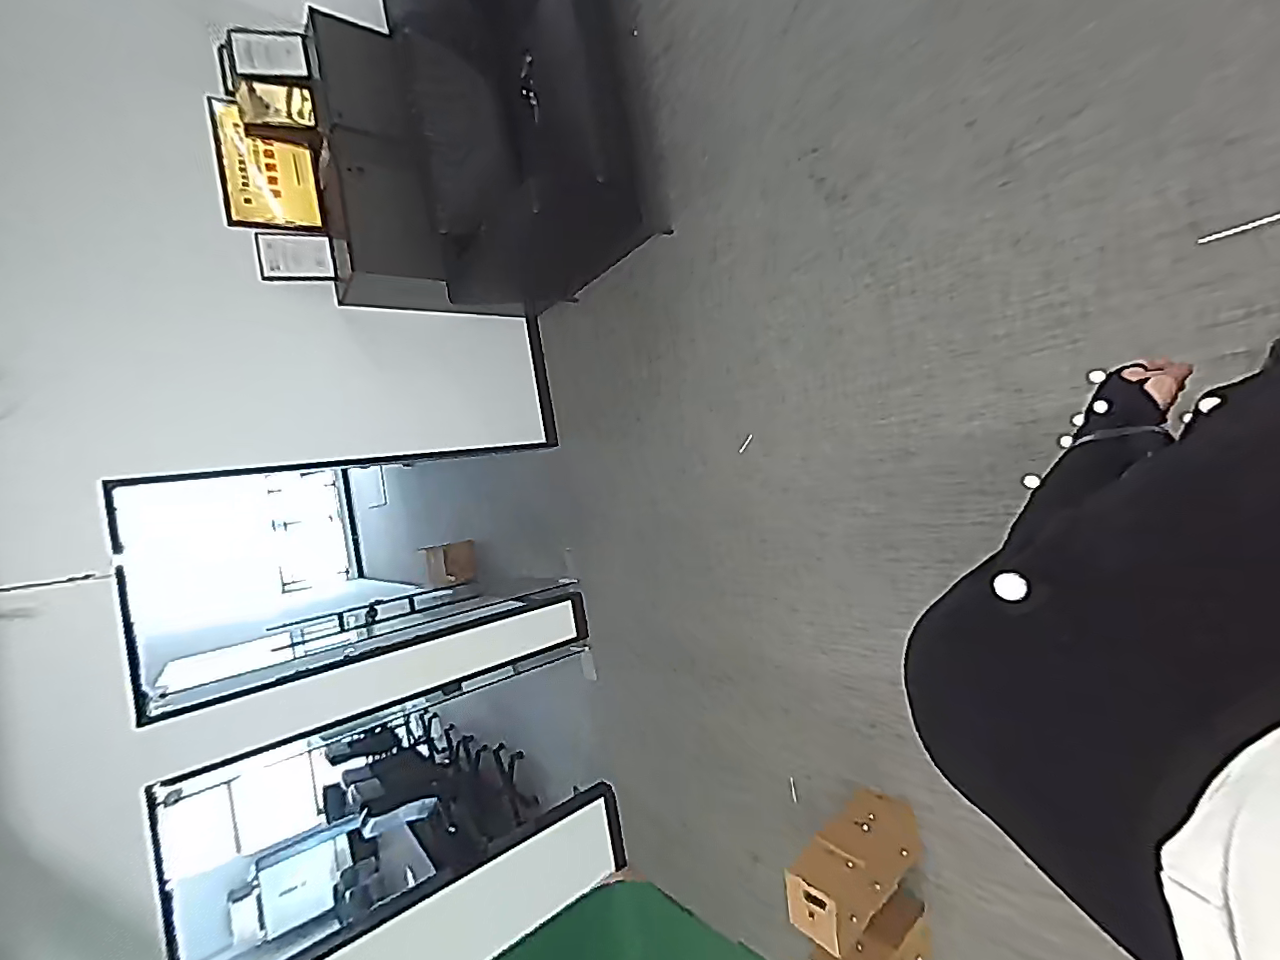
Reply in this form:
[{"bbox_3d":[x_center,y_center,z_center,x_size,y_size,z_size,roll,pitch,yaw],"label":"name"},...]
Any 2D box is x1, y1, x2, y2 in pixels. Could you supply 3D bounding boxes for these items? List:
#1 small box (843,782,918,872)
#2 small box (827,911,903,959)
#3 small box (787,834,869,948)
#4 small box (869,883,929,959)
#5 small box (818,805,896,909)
[{"bbox_3d":[0.808,1.159,1.811,0.168,0.176,0.179,-6,92,52],"label":"small box"},{"bbox_3d":[0.721,1.515,1.719,0.179,0.176,0.168,-1,96,53],"label":"small box"},{"bbox_3d":[0.559,1.204,1.603,0.168,0.176,0.179,1,98,52],"label":"small box"},{"bbox_3d":[0.852,1.501,1.819,0.179,0.176,0.168,-3,94,53],"label":"small box"},{"bbox_3d":[0.686,1.177,1.702,0.168,0.176,0.179,-3,94,52],"label":"small box"}]
